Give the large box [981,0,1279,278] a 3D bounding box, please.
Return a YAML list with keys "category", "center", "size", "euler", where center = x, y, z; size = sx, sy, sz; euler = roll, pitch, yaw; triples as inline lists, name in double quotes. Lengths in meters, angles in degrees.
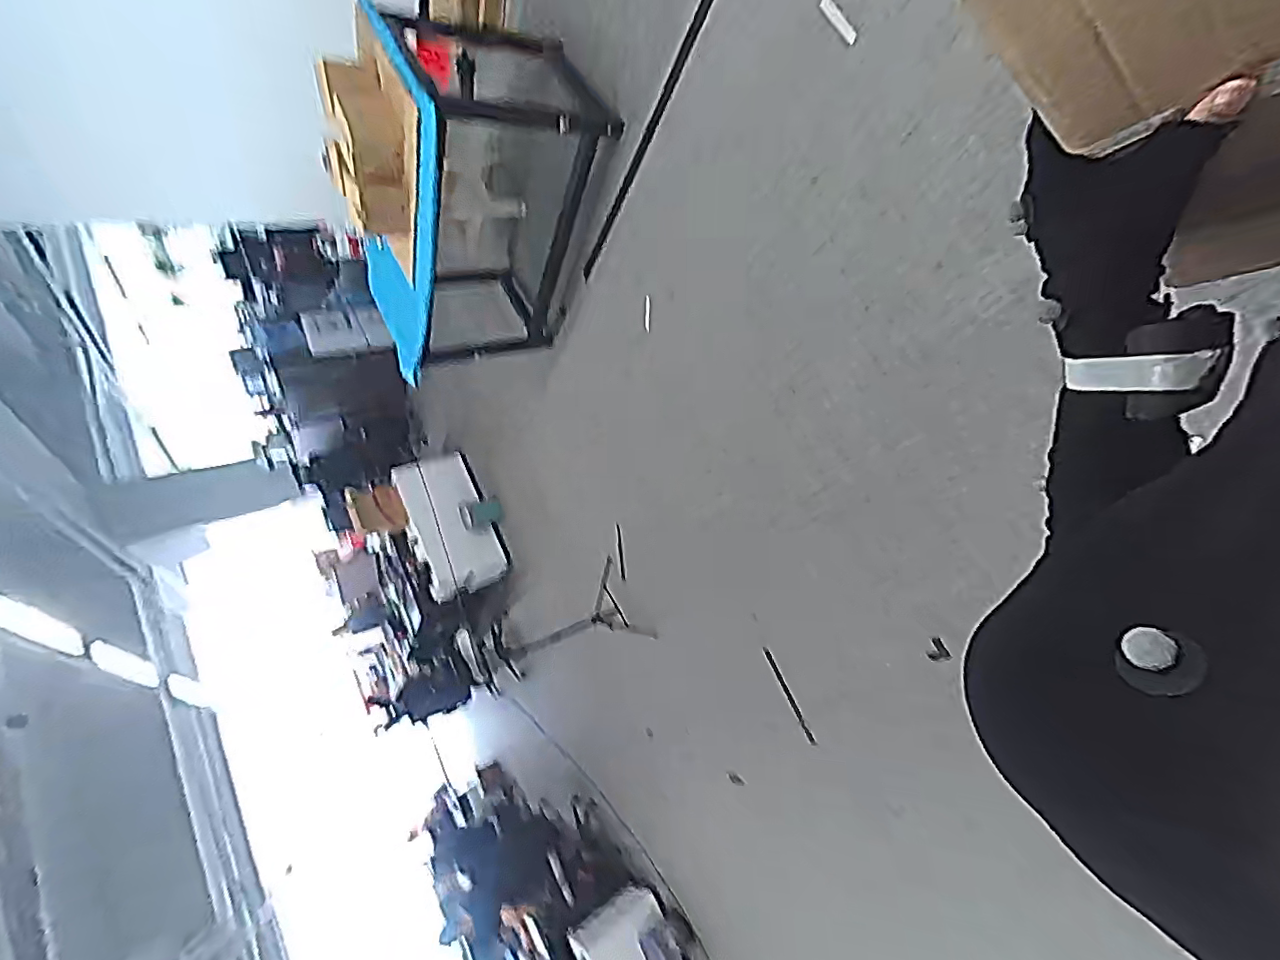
- category: "large box"
  center: [0.412, -0.341, 0.184]
  size: [0.408, 0.320, 0.320]
  euler: [1, 71, 60]
